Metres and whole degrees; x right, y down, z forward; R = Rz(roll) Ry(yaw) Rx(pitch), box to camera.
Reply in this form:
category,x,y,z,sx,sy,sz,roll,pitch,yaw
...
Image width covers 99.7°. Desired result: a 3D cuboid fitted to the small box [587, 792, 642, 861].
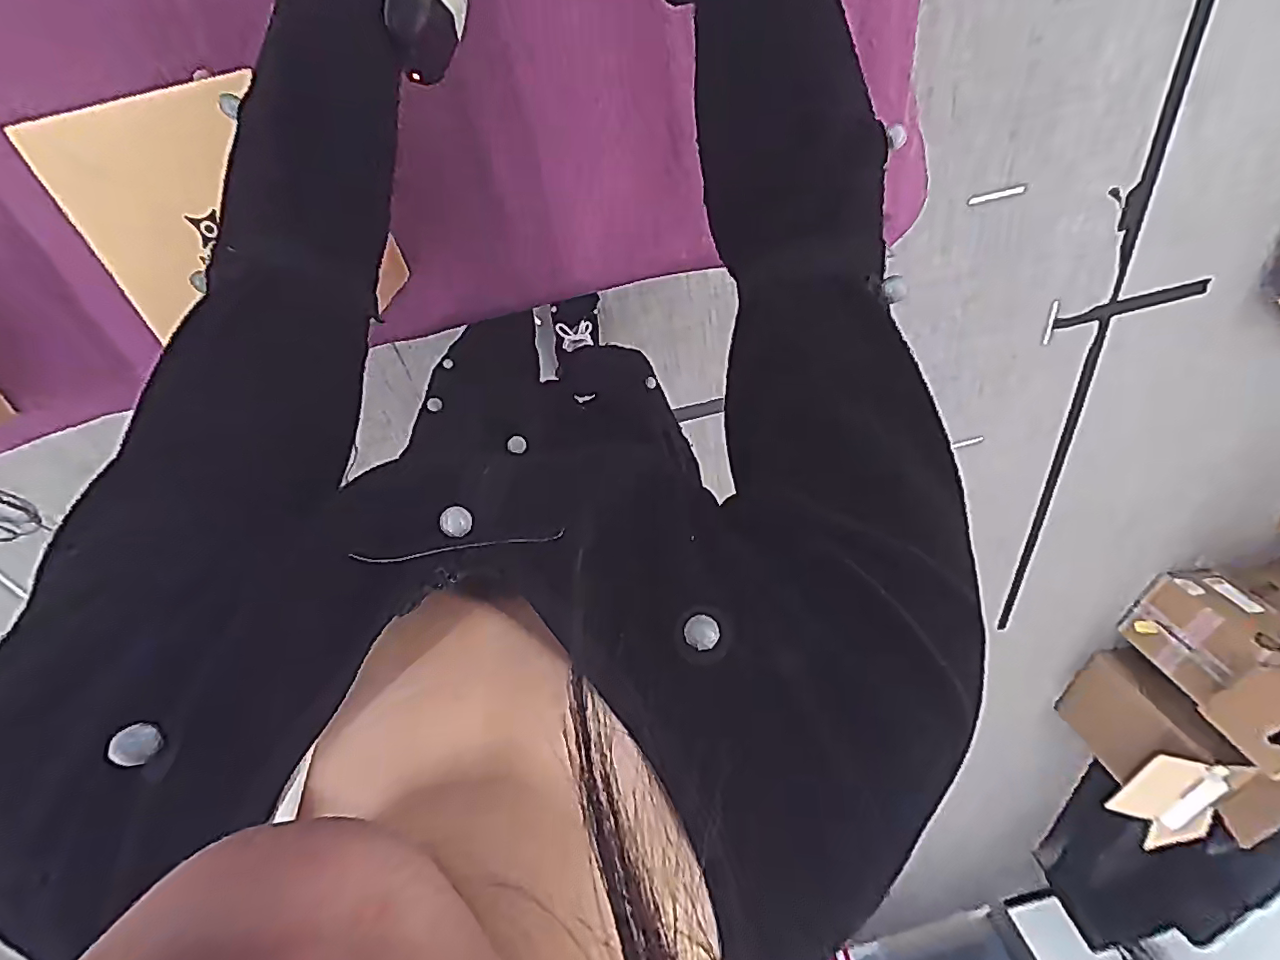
category,x,y,z,sx,sy,sz,roll,pitch,yaw
small box,-0.105,1.397,2.185,0.179,0.176,0.168,-15,125,-2

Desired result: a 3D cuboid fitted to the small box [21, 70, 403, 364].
category,x,y,z,sx,sy,sz,roll,pitch,yaw
small box,-0.333,-0.229,0.474,0.168,0.176,0.179,-15,125,-2
